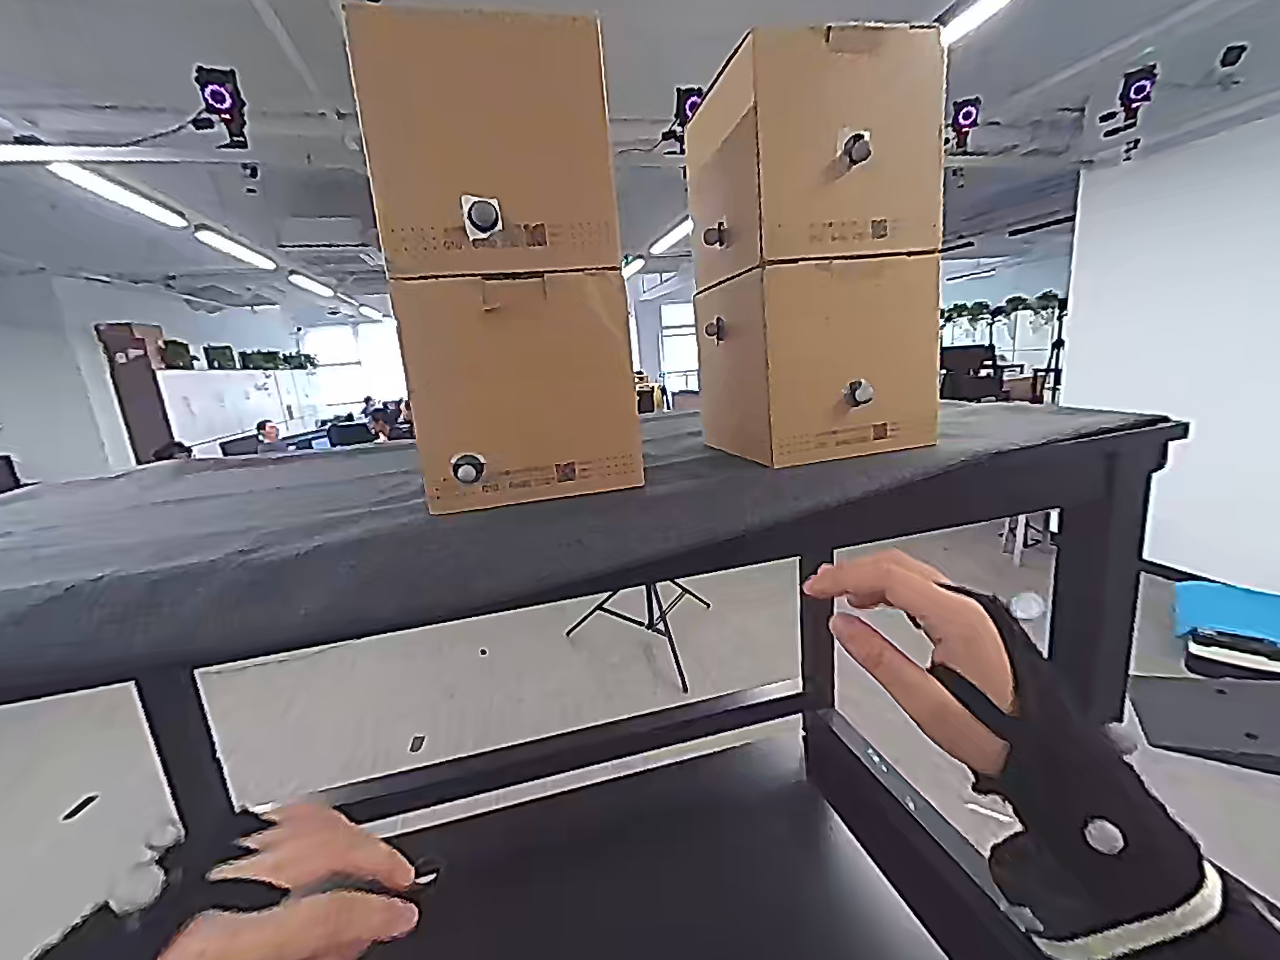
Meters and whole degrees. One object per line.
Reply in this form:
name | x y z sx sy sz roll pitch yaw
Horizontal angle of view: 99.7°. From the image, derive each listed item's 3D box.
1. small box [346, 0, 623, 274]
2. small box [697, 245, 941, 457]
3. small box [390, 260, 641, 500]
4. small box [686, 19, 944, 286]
small box | -0.115 -0.241 0.444 0.168 0.176 0.179 -9 12 -12
small box | 0.164 -0.121 0.536 0.168 0.176 0.179 -9 12 -11
small box | -0.101 -0.082 0.474 0.168 0.176 0.179 -8 11 -13
small box | 0.150 -0.281 0.502 0.168 0.176 0.179 -8 13 -11
